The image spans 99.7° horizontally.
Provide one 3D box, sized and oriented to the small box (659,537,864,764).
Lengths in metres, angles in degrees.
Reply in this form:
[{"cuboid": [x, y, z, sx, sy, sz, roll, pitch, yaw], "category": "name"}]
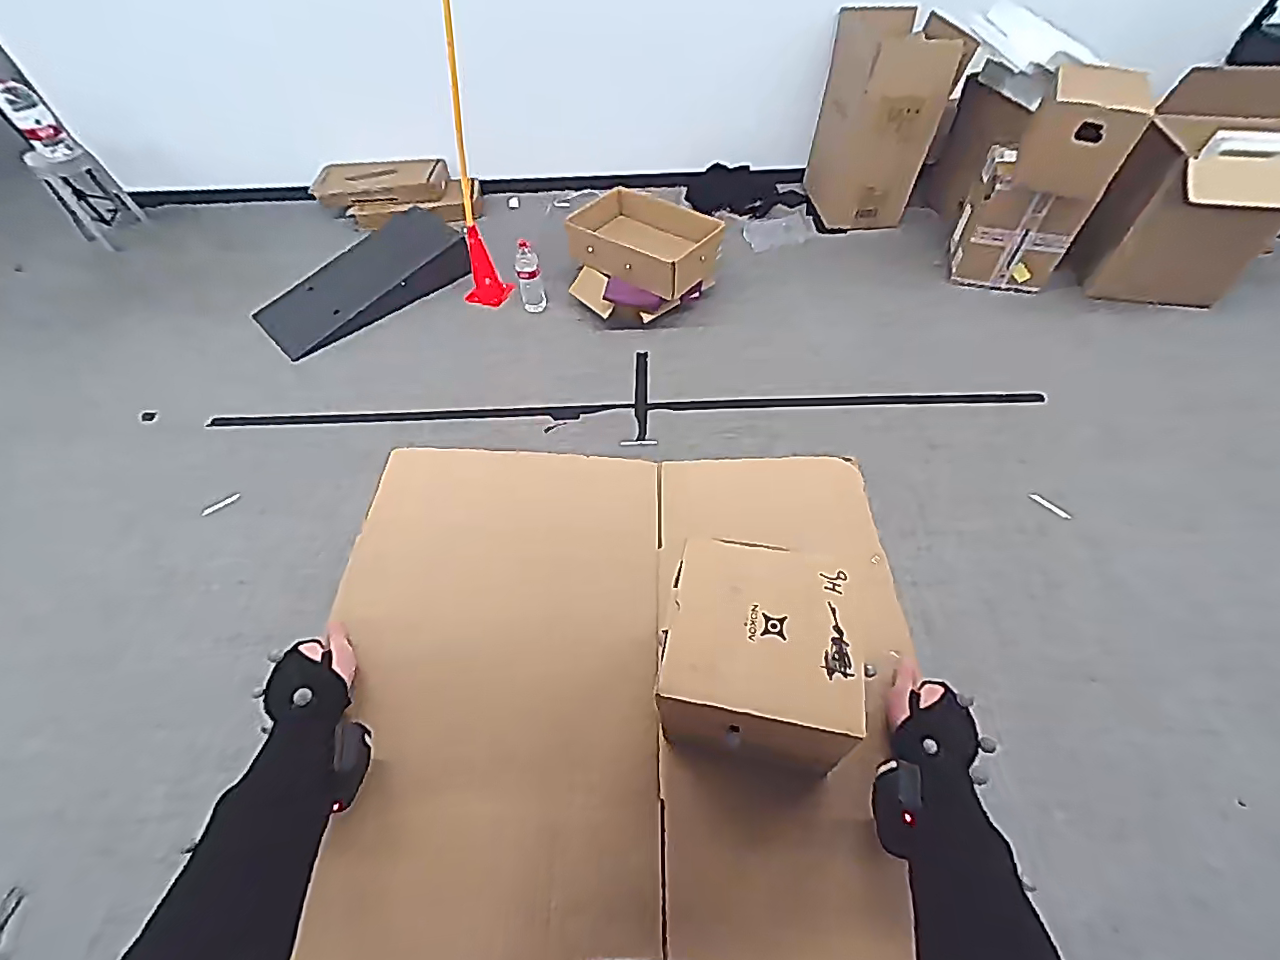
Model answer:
[{"cuboid": [0.126, 0.182, 0.570, 0.179, 0.176, 0.168, 6, 54, 12], "category": "small box"}]
